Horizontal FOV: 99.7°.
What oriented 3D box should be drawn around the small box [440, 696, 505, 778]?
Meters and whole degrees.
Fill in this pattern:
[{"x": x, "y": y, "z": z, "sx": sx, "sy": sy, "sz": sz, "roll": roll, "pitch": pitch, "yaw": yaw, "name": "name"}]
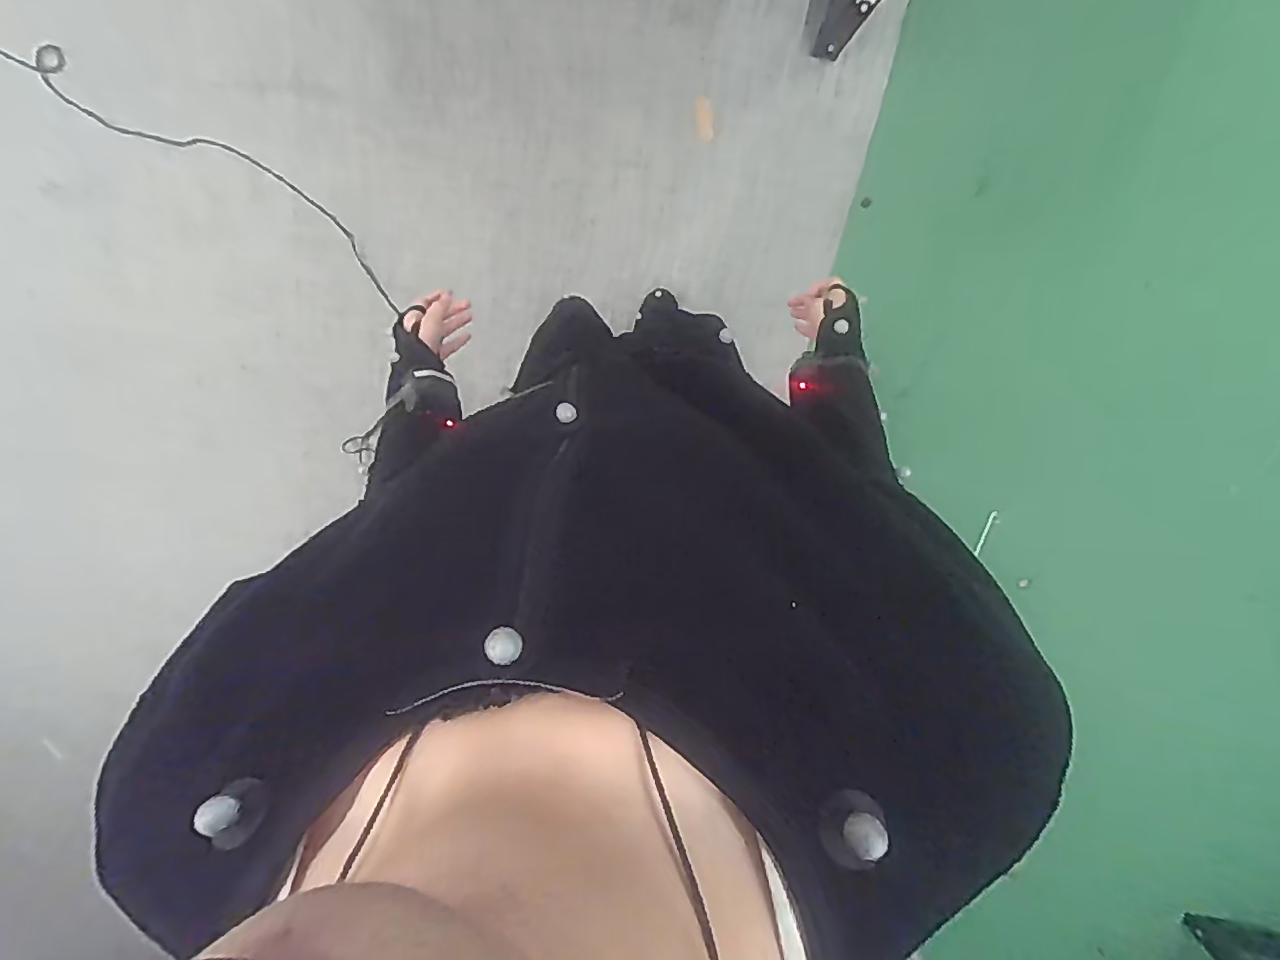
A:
[{"x": -0.545, "y": 0.834, "z": 1.762, "sx": 0.168, "sy": 0.176, "sz": 0.179, "roll": 9, "pitch": 111, "yaw": -2, "name": "small box"}]
